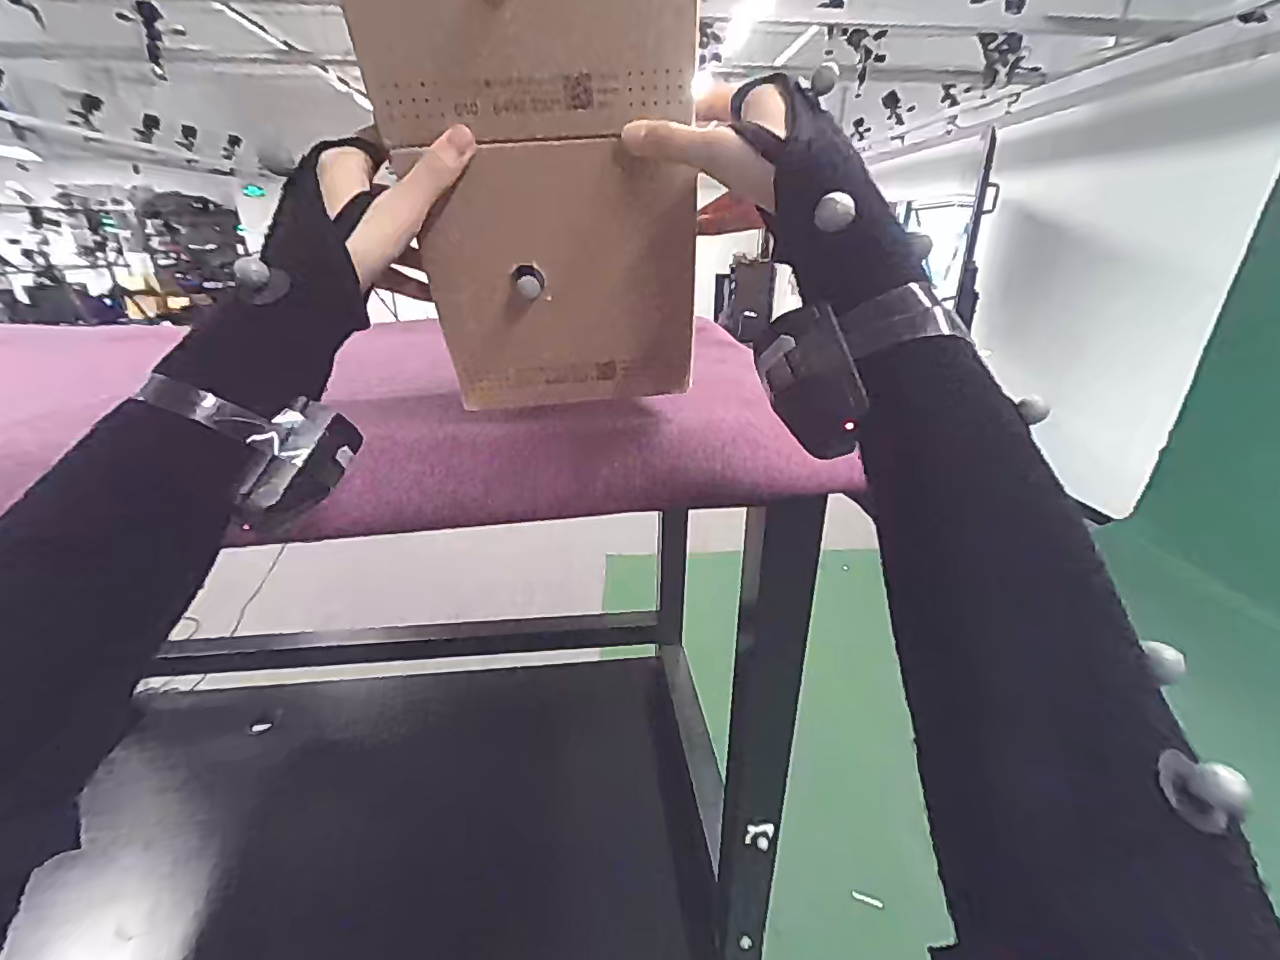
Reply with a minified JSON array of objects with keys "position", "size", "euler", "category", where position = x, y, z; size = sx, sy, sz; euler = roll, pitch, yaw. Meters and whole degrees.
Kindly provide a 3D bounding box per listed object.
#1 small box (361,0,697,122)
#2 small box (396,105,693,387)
[{"position":[-0.059,-0.304,0.296],"size":[0.168,0.176,0.179],"euler":[-4,41,-2],"category":"small box"},{"position":[-0.054,-0.179,0.403],"size":[0.168,0.176,0.179],"euler":[-5,40,-3],"category":"small box"}]
